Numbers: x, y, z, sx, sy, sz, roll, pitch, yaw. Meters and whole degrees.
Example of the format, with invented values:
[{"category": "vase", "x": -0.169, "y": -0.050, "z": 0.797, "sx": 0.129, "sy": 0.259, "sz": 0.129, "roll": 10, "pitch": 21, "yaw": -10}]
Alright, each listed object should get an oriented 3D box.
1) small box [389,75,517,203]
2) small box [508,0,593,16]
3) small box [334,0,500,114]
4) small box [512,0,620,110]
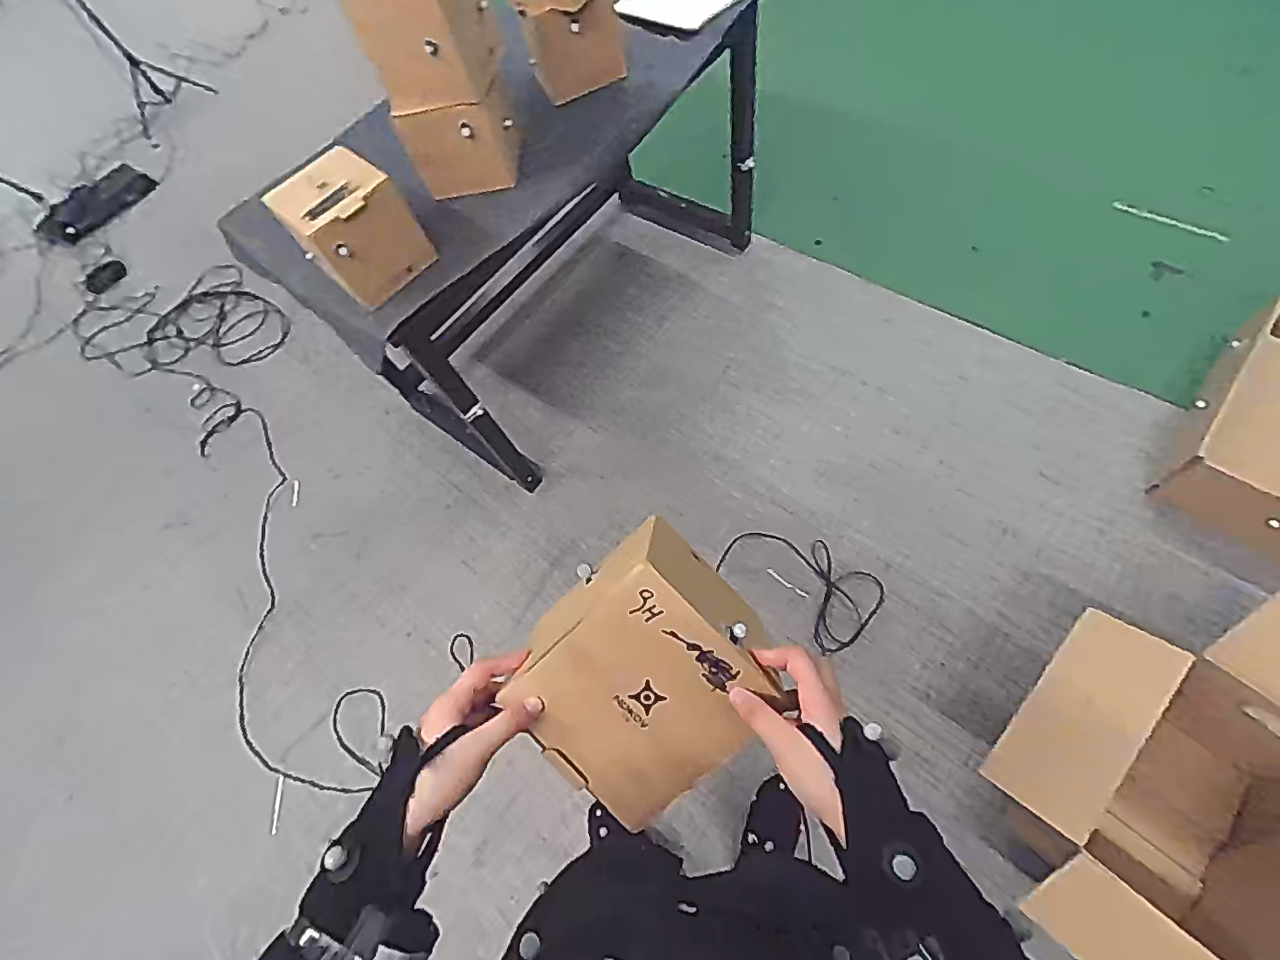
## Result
[{"category": "small box", "x": -0.353, "y": -0.677, "z": 1.059, "sx": 0.179, "sy": 0.176, "sz": 0.168, "roll": -5, "pitch": 63, "yaw": 7}, {"category": "small box", "x": -0.165, "y": -1.004, "z": 0.999, "sx": 0.179, "sy": 0.176, "sz": 0.168, "roll": 28, "pitch": 73, "yaw": 21}, {"category": "small box", "x": -0.362, "y": -0.755, "z": 0.916, "sx": 0.179, "sy": 0.176, "sz": 0.168, "roll": 5, "pitch": 65, "yaw": 13}, {"category": "small box", "x": -0.153, "y": -0.940, "z": 1.151, "sx": 0.179, "sy": 0.176, "sz": 0.168, "roll": -24, "pitch": 63, "yaw": -1}]
